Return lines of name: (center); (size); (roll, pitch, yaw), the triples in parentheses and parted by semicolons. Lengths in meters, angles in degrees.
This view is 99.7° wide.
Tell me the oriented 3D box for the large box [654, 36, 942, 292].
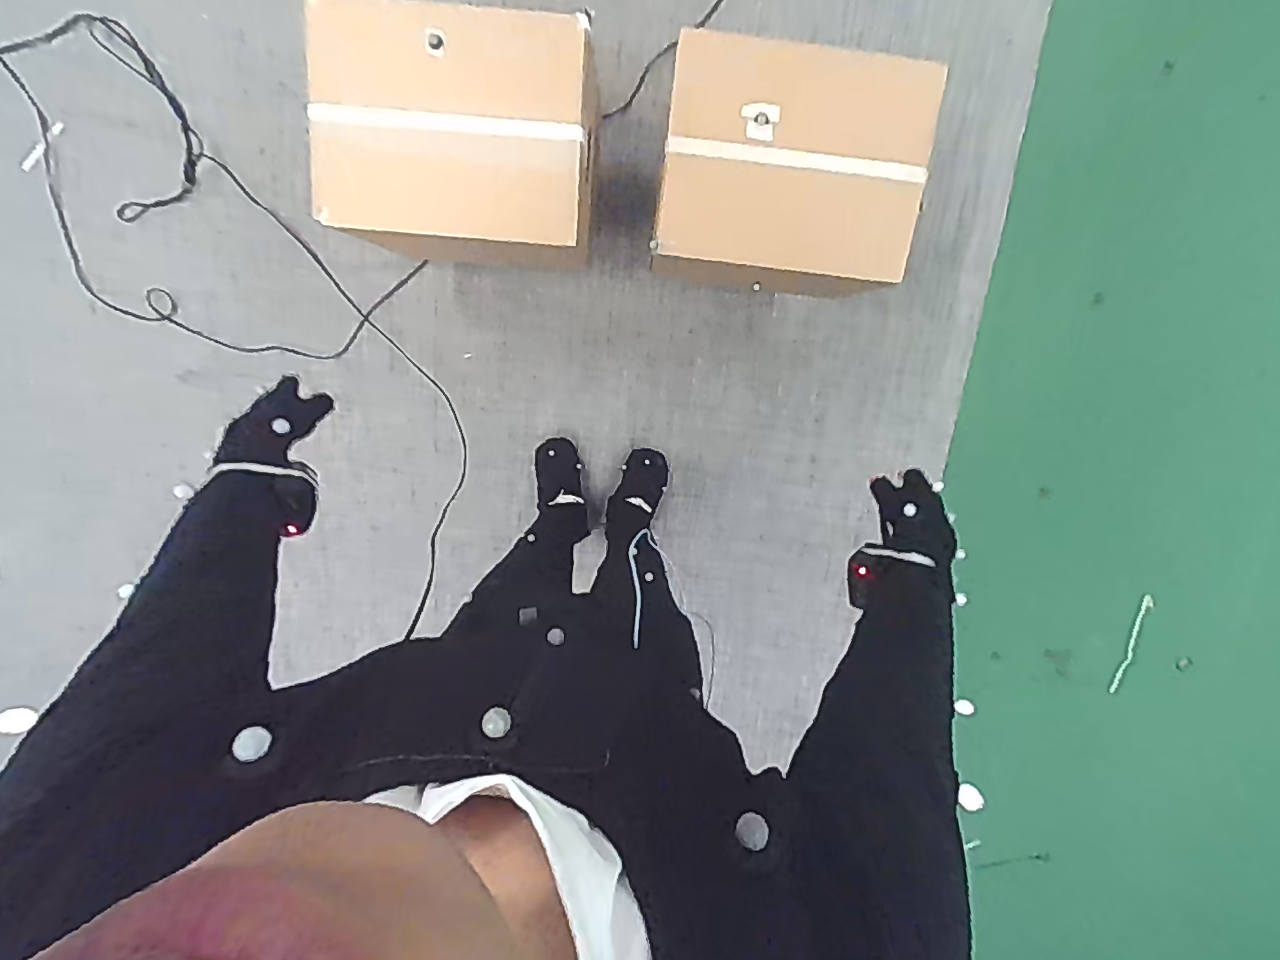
large box: (0.244, -0.530, 0.986); (0.408, 0.320, 0.320); (7, 104, -2)
